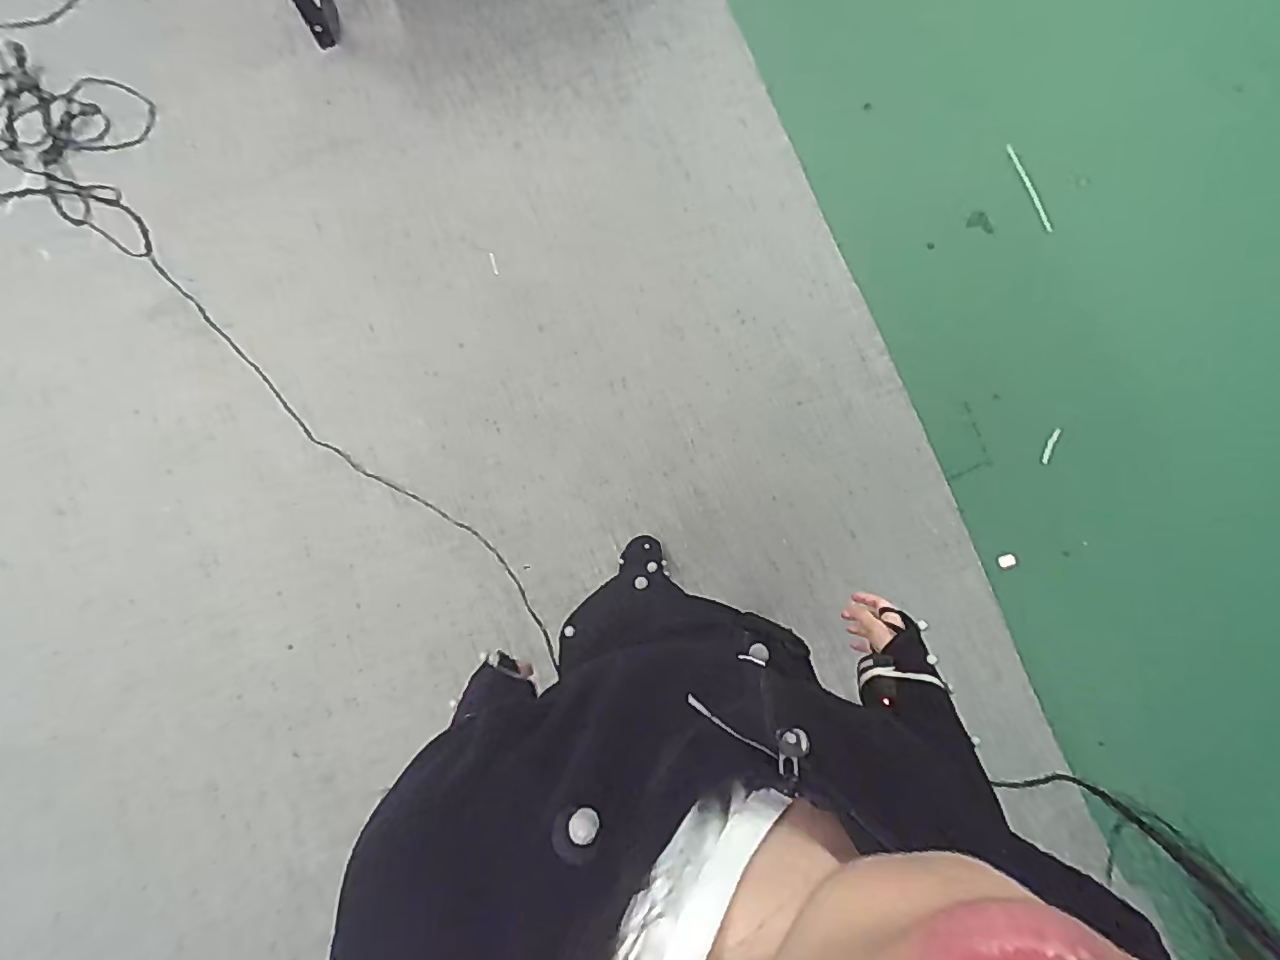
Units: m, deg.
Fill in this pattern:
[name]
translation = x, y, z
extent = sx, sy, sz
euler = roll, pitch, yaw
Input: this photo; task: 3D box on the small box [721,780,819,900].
[small box]
translation = 0.315, 0.882, 1.351
extent = 0.168, 0.176, 0.179
euler = -20, 83, -4
